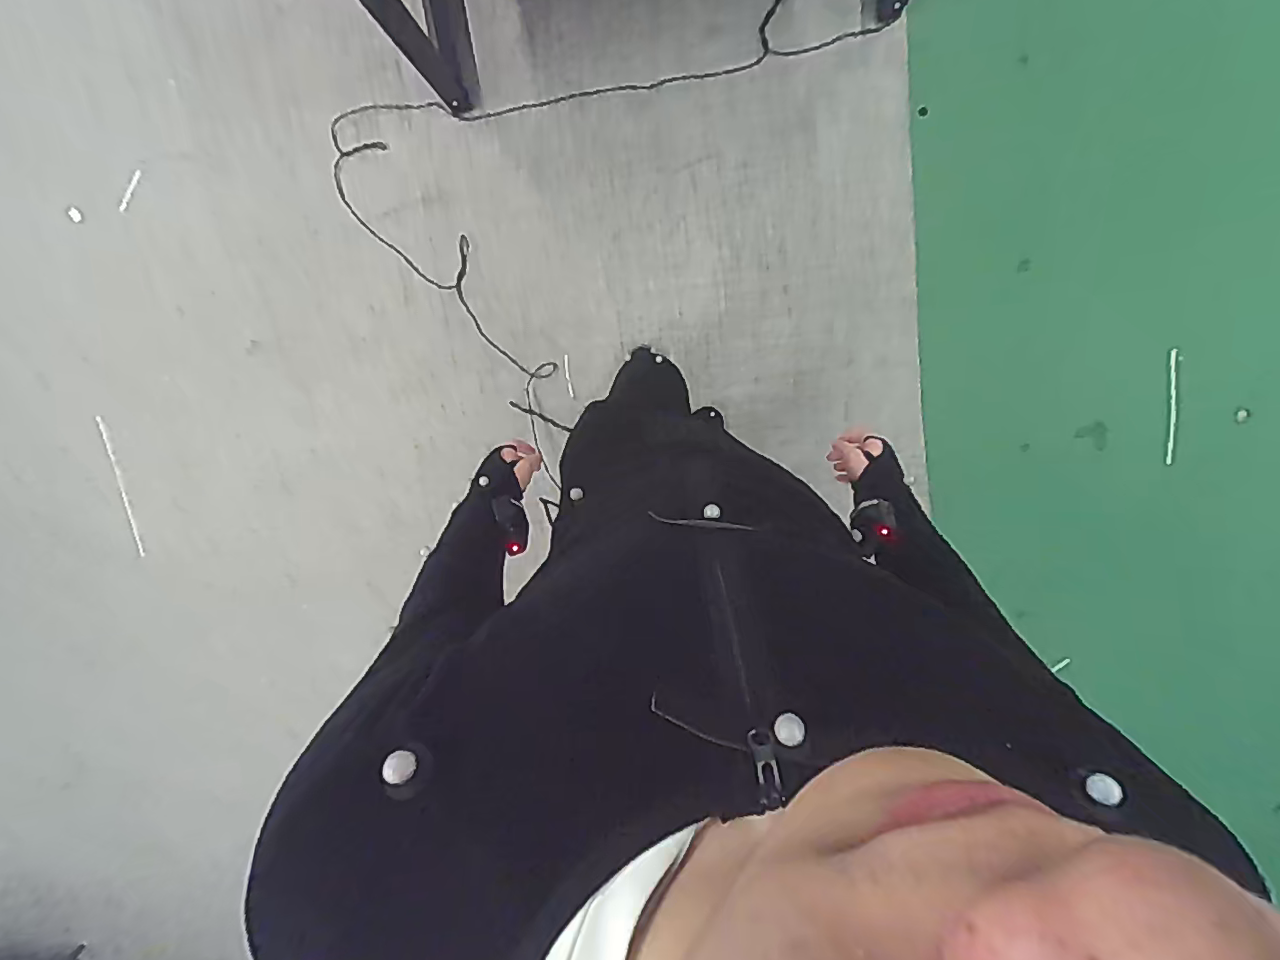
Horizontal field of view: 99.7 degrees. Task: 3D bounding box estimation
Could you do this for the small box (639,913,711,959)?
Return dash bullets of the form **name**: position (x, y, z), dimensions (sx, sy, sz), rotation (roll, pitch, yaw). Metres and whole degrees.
- **small box**: position (0.087, 1.201, 1.318), dimensions (0.179, 0.176, 0.168), rotation (-2, 99, 5)
